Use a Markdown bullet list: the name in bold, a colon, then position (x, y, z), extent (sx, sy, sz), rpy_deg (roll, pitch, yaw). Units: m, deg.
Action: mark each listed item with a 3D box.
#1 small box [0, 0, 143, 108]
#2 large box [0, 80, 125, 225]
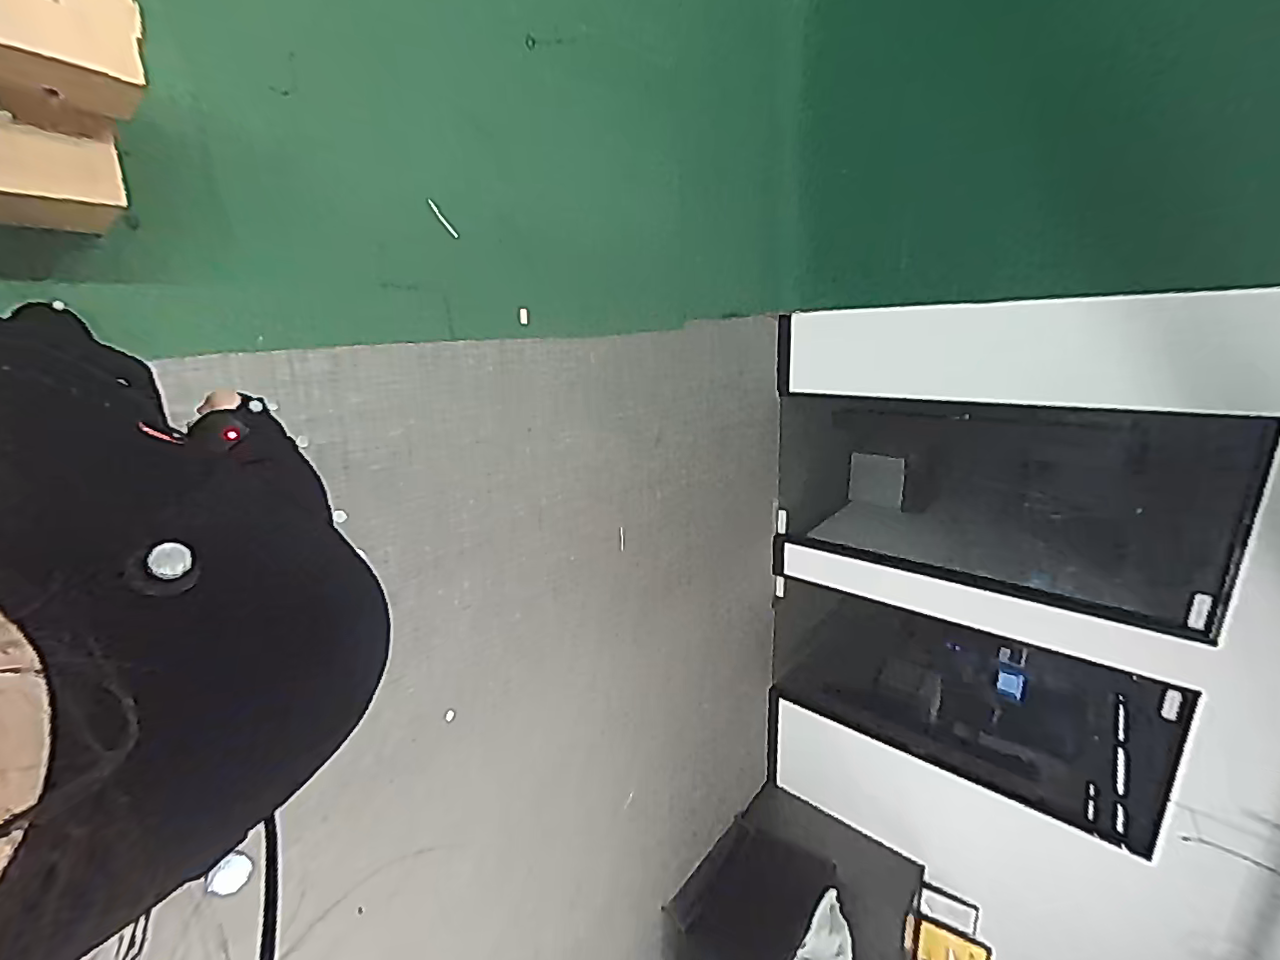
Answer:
- **small box**: position (-0.787, -0.618, 0.703), extent (0.179, 0.176, 0.168), rpy_deg (-10, 106, -48)
- **large box**: position (-1.065, -0.573, 0.768), extent (0.408, 0.320, 0.320), rpy_deg (-18, 113, -48)
